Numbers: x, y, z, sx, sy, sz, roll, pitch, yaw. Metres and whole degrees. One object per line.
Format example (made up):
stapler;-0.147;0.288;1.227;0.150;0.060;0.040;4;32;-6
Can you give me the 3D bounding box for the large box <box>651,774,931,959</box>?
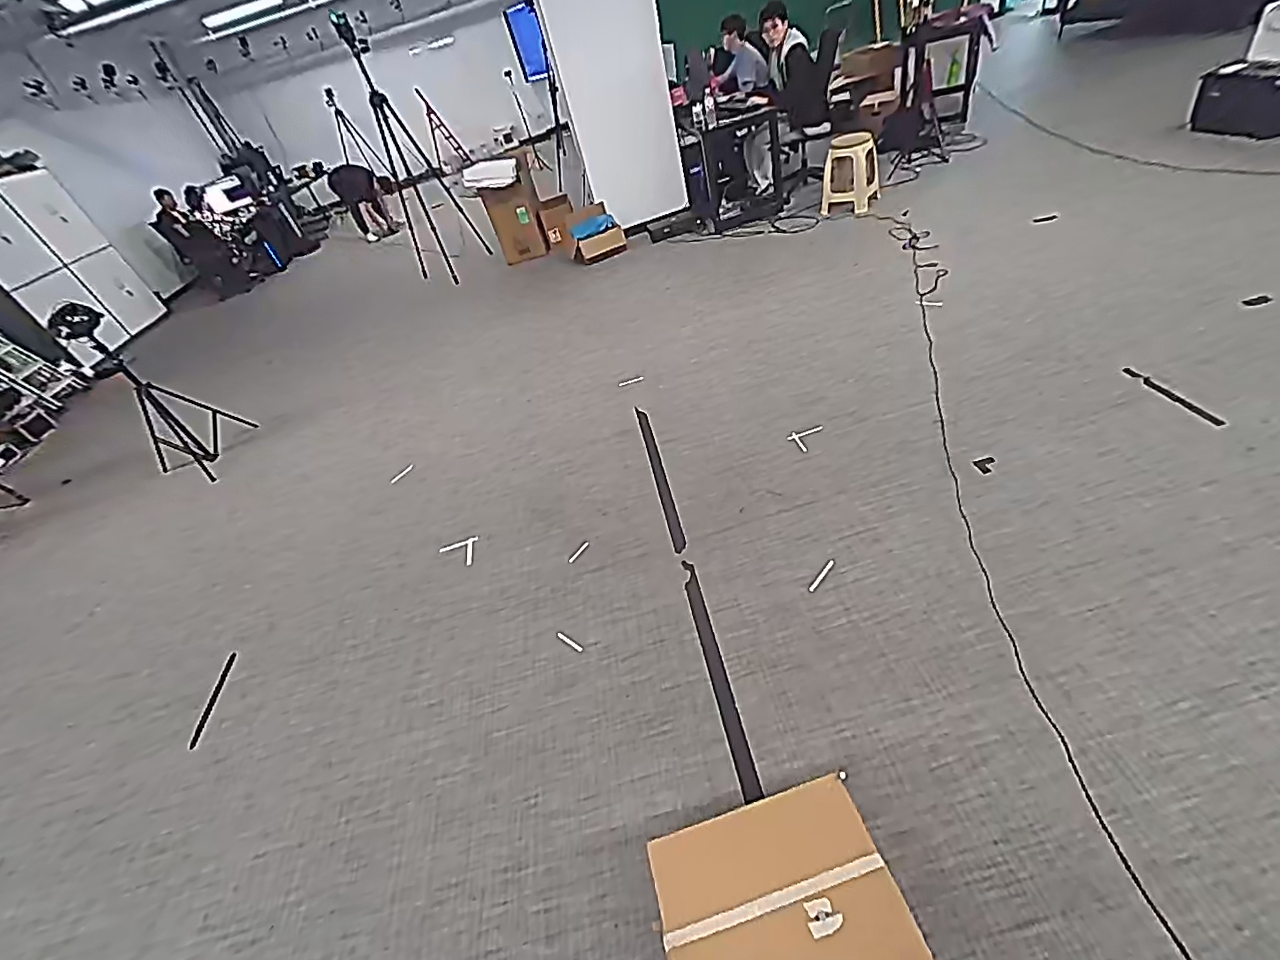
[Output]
large box;0.278;0.856;1.050;0.408;0.320;0.320;-20;39;-1
